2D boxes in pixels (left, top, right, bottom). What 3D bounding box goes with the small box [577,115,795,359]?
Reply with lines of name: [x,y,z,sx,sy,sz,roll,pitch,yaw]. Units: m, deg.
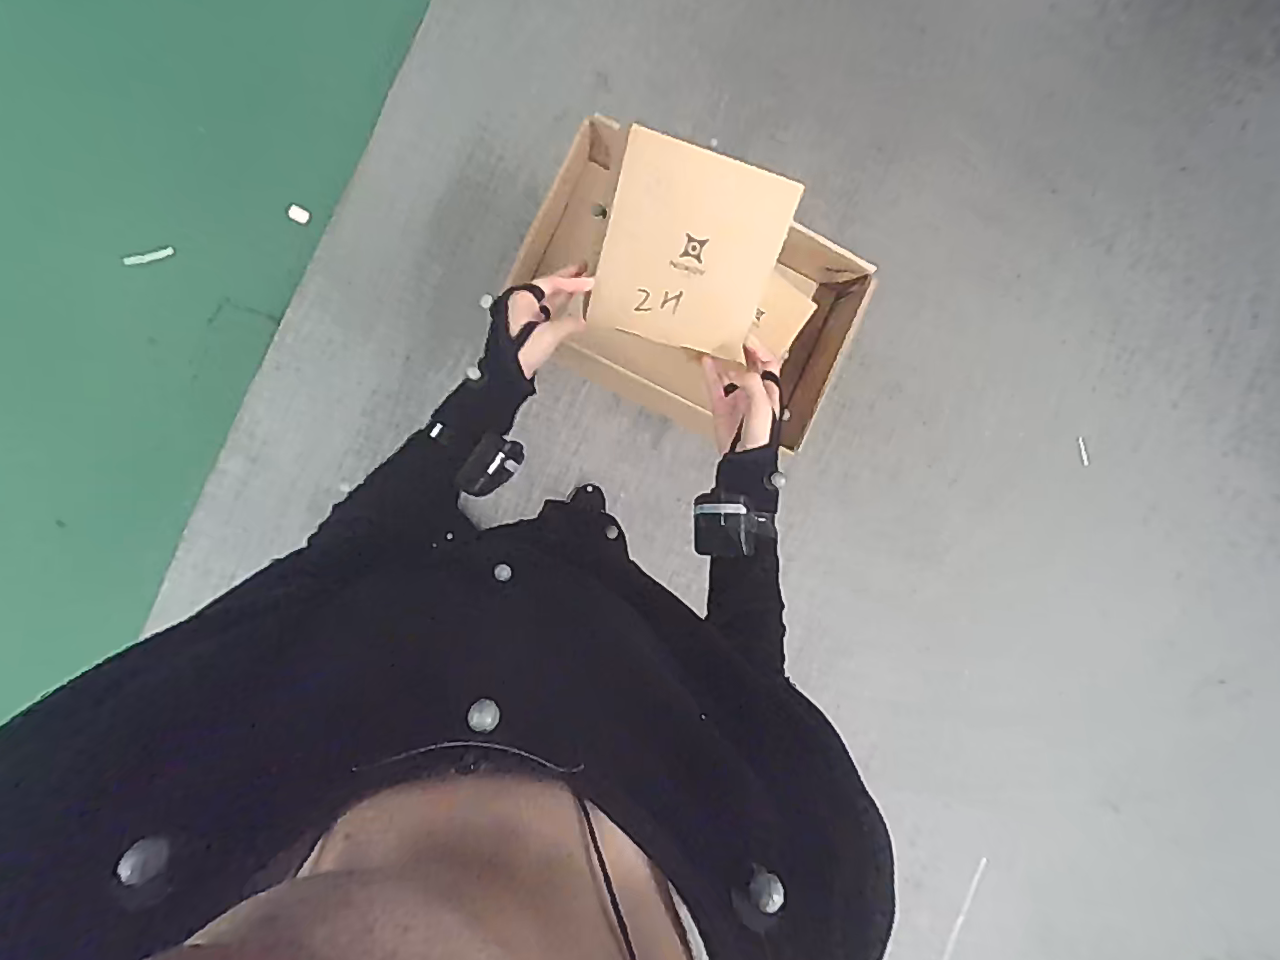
small box: [0.031,-0.256,0.572,0.168,0.176,0.179,12,120,-13]
